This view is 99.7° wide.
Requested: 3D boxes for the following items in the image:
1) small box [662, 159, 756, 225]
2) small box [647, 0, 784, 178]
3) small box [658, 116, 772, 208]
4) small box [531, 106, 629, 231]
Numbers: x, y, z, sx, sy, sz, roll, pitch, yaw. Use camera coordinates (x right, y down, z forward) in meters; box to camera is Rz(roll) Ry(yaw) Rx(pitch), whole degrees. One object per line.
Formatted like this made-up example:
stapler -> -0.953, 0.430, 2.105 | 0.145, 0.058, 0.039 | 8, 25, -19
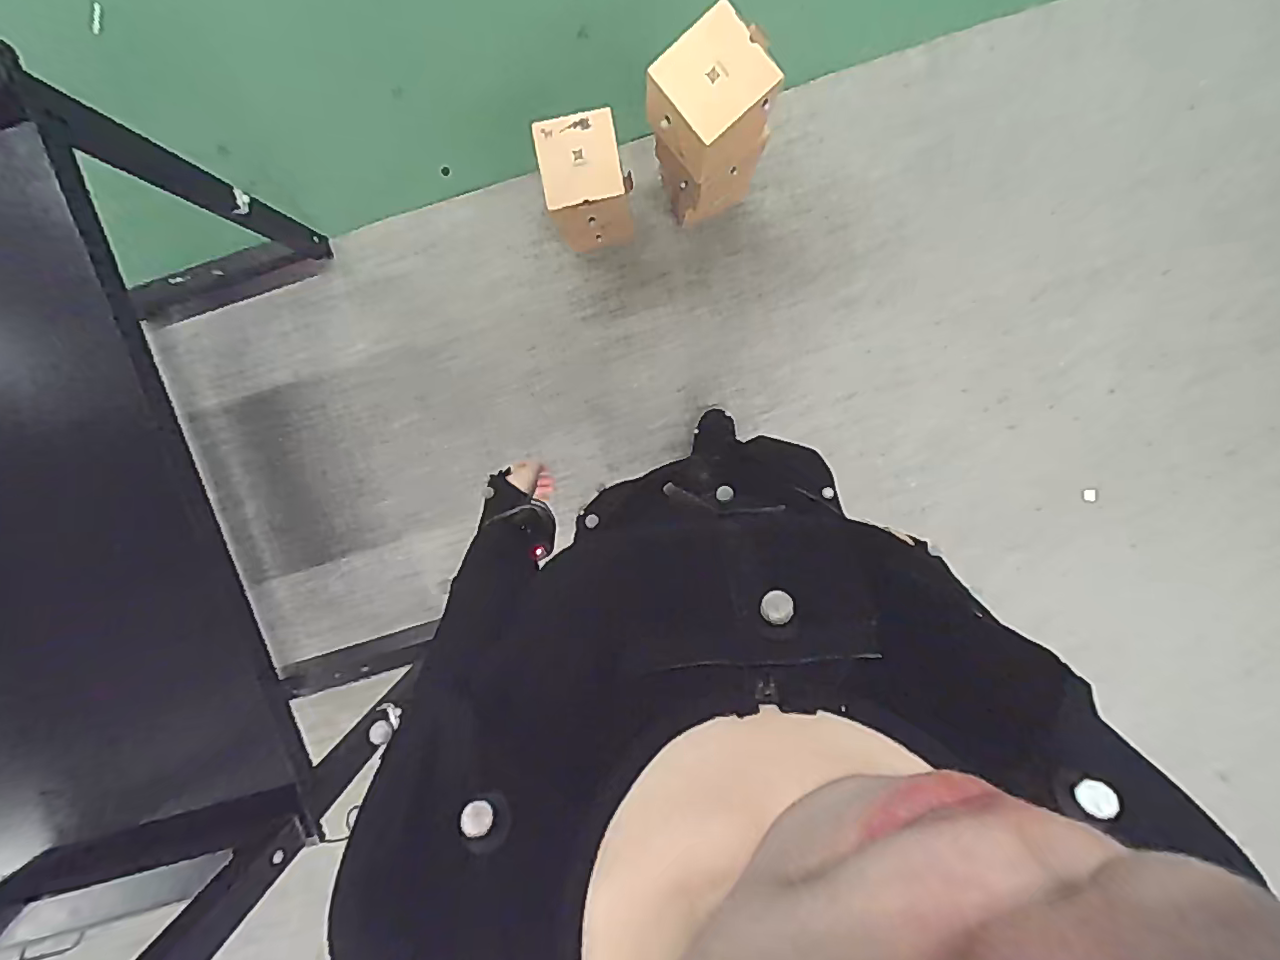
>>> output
small box -> 0.159, -0.752, 1.309 | 0.179, 0.176, 0.168 | -23, 96, 3
small box -> 0.130, -0.700, 0.989 | 0.179, 0.176, 0.168 | -41, 95, 5
small box -> 0.150, -0.720, 1.150 | 0.179, 0.176, 0.168 | -36, 97, 4
small box -> -0.120, -0.654, 1.163 | 0.168, 0.176, 0.179 | -10, 97, 3
